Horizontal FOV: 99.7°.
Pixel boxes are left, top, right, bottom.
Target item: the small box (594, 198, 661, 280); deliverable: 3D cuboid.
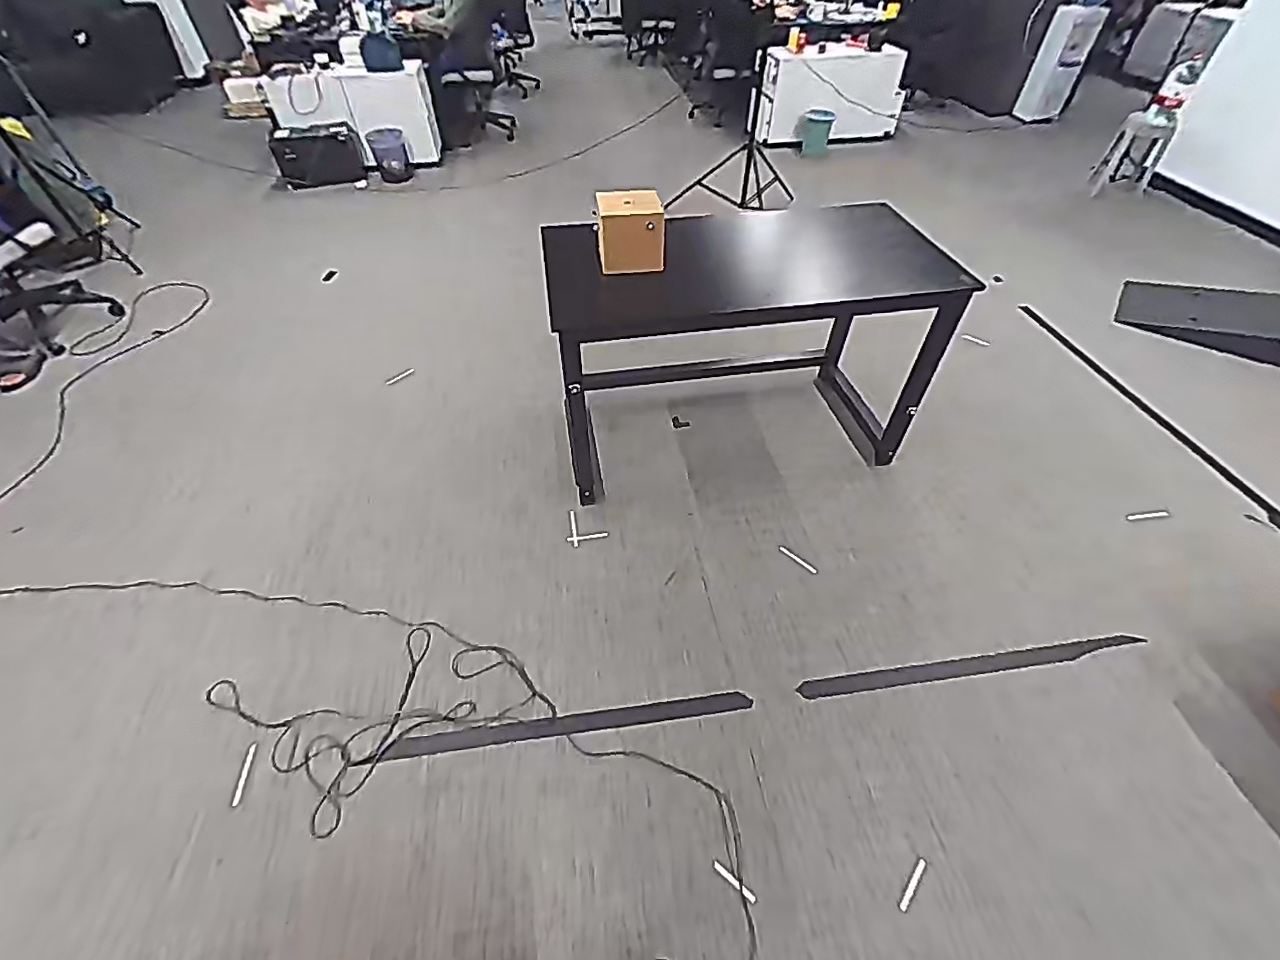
[{"bbox_3d":[-0.036,-0.698,1.573,0.179,0.176,0.168,-6,48,-6],"label":"small box"}]
